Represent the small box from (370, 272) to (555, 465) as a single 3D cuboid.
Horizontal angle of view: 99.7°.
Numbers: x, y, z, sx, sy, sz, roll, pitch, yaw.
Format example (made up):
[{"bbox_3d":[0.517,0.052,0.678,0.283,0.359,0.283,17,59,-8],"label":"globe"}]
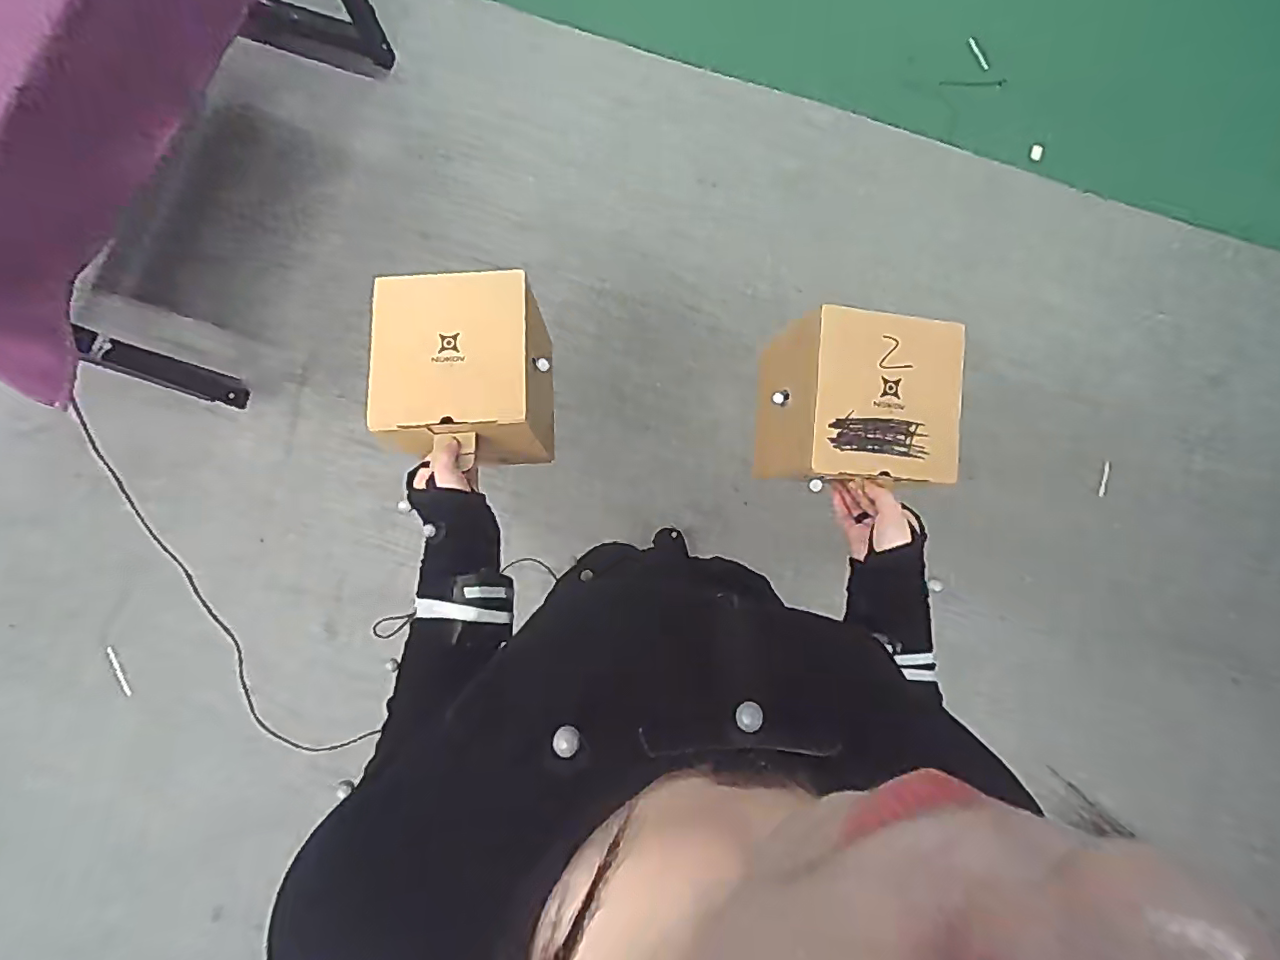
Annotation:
[{"bbox_3d":[-0.196,-0.123,0.644,0.168,0.176,0.179,-2,79,0],"label":"small box"}]
